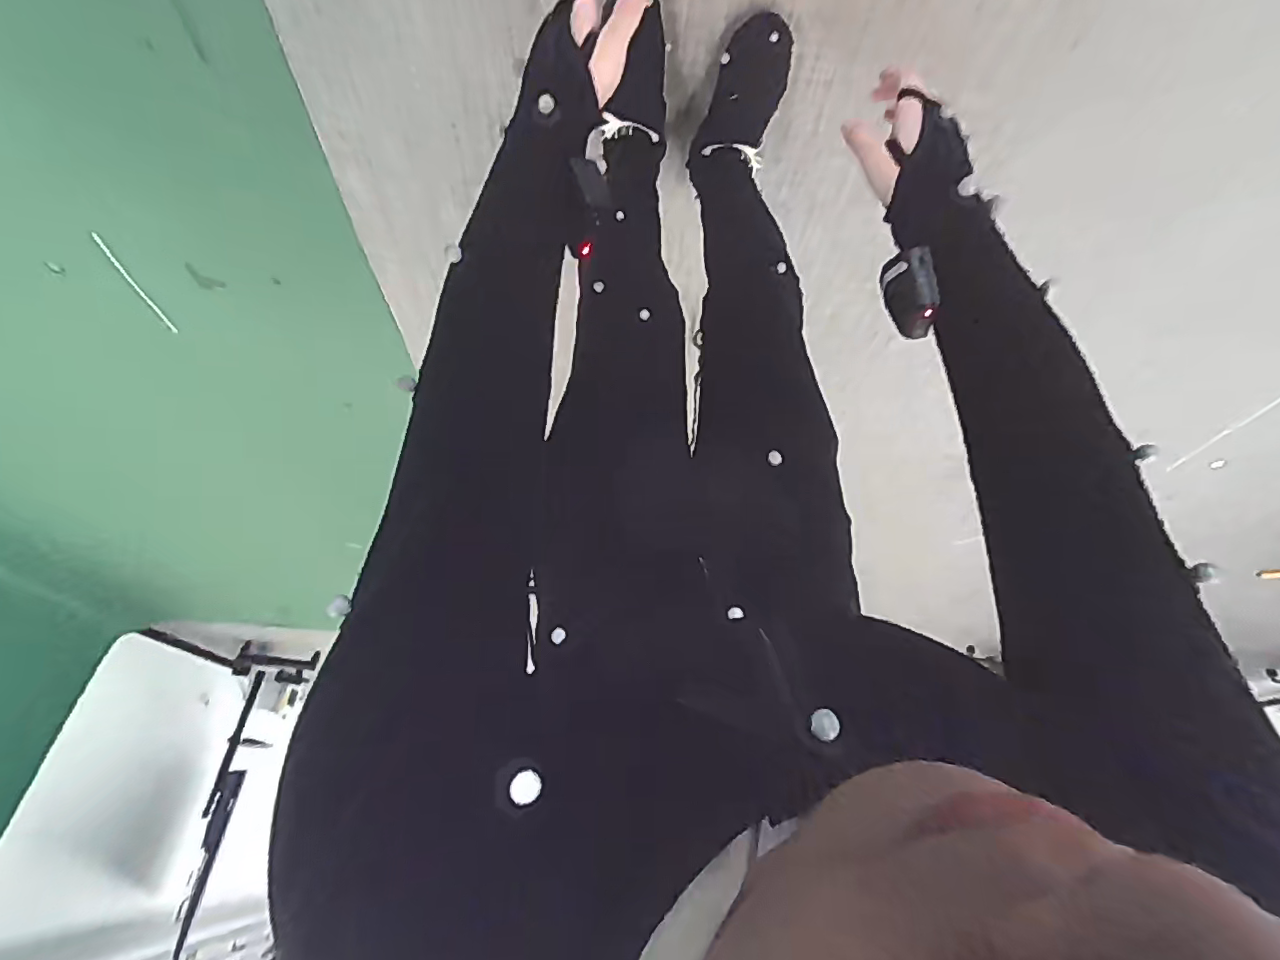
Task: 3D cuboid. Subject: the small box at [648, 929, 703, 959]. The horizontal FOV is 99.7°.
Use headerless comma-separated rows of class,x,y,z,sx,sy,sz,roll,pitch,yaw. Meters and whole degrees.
small box,0.116,1.640,1.819,0.179,0.176,0.168,4,150,2
